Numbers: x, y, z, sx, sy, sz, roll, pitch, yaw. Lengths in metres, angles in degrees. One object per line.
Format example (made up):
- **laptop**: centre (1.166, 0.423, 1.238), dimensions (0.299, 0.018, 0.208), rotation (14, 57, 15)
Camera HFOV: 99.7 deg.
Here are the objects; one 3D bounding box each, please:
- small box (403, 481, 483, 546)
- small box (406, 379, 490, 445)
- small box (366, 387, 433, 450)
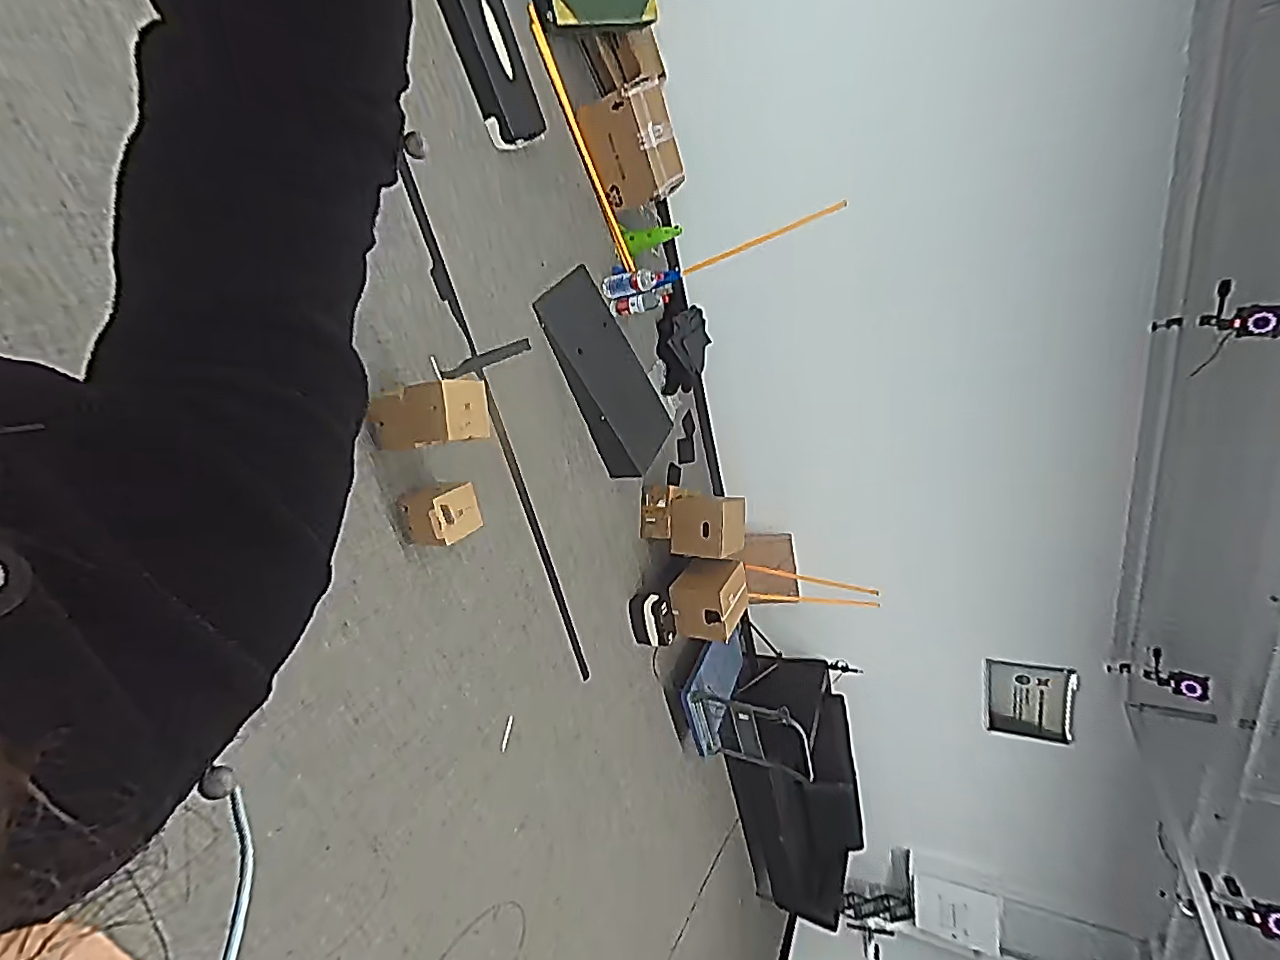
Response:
- **small box**: centre (-0.665, 0.111, 1.808), dimensions (0.179, 0.176, 0.168), rotation (-37, 121, -56)
- **small box**: centre (-0.580, -0.204, 1.627), dimensions (0.168, 0.176, 0.179), rotation (-16, 102, -59)
- **small box**: centre (-0.725, -0.199, 1.707), dimensions (0.168, 0.176, 0.179), rotation (-38, 122, -55)
